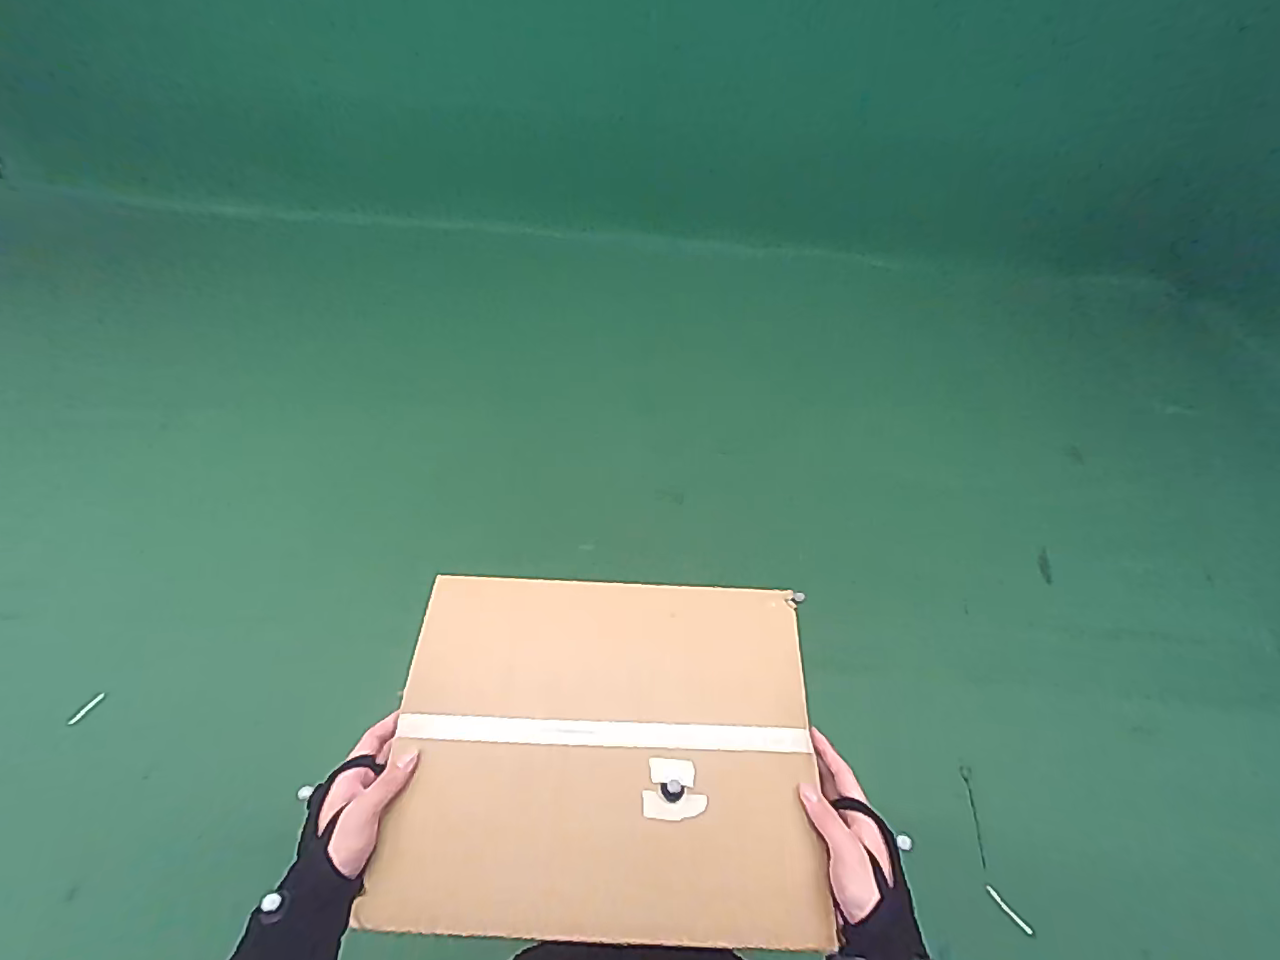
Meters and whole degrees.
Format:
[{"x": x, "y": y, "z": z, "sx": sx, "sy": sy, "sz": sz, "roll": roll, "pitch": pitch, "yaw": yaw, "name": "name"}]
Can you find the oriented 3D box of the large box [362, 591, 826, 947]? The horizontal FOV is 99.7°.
[{"x": -0.041, "y": 0.345, "z": 0.661, "sx": 0.408, "sy": 0.320, "sz": 0.320, "roll": 3, "pitch": 57, "yaw": -1, "name": "large box"}]
